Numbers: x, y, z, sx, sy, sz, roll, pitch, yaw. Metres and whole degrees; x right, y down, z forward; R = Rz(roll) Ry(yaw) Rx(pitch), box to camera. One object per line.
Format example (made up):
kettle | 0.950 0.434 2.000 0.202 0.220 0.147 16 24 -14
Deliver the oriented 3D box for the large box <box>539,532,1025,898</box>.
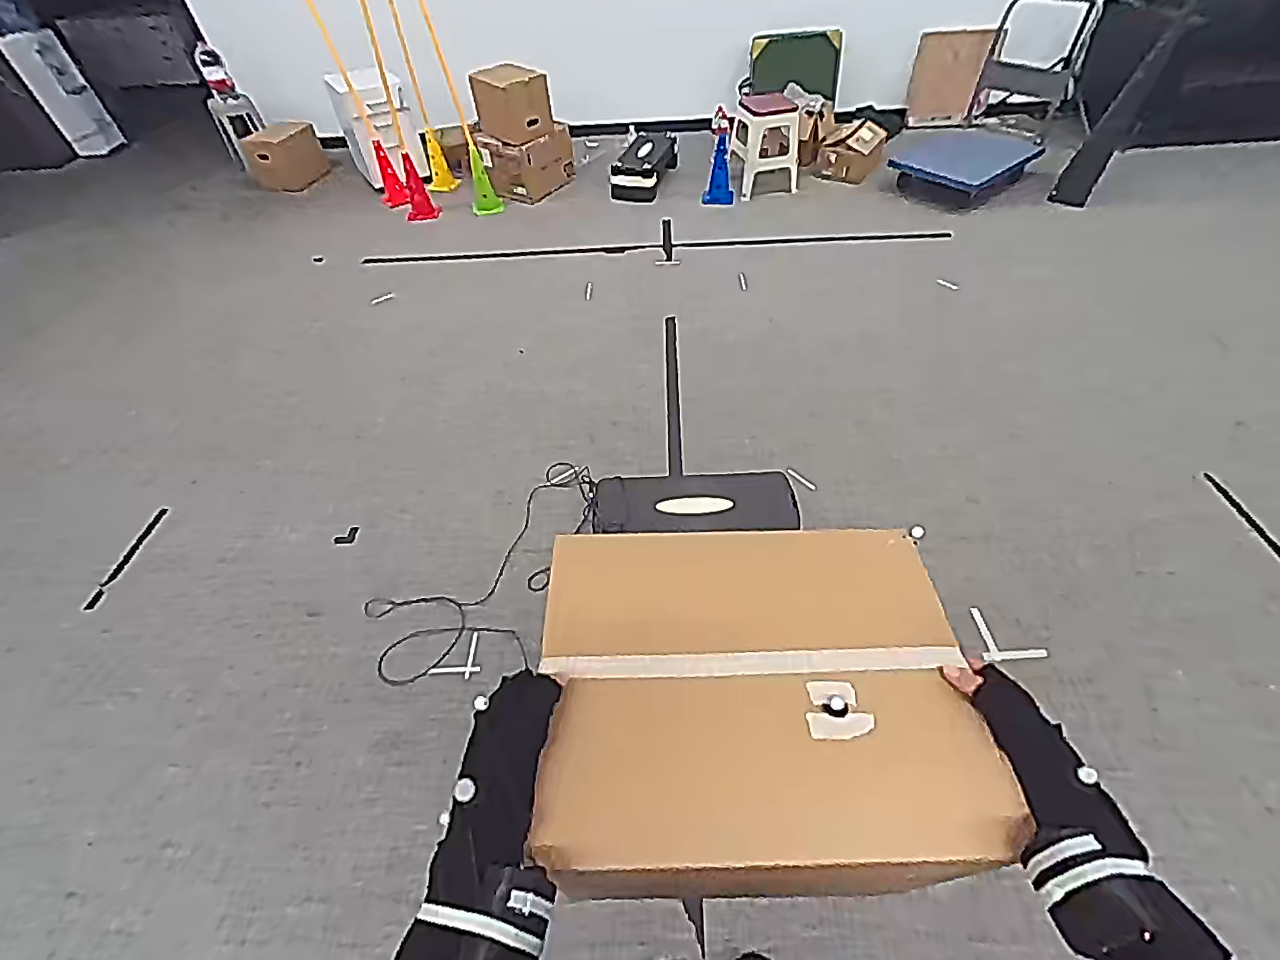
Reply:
large box | 0.111 0.281 0.642 0.408 0.320 0.320 -1 48 0
